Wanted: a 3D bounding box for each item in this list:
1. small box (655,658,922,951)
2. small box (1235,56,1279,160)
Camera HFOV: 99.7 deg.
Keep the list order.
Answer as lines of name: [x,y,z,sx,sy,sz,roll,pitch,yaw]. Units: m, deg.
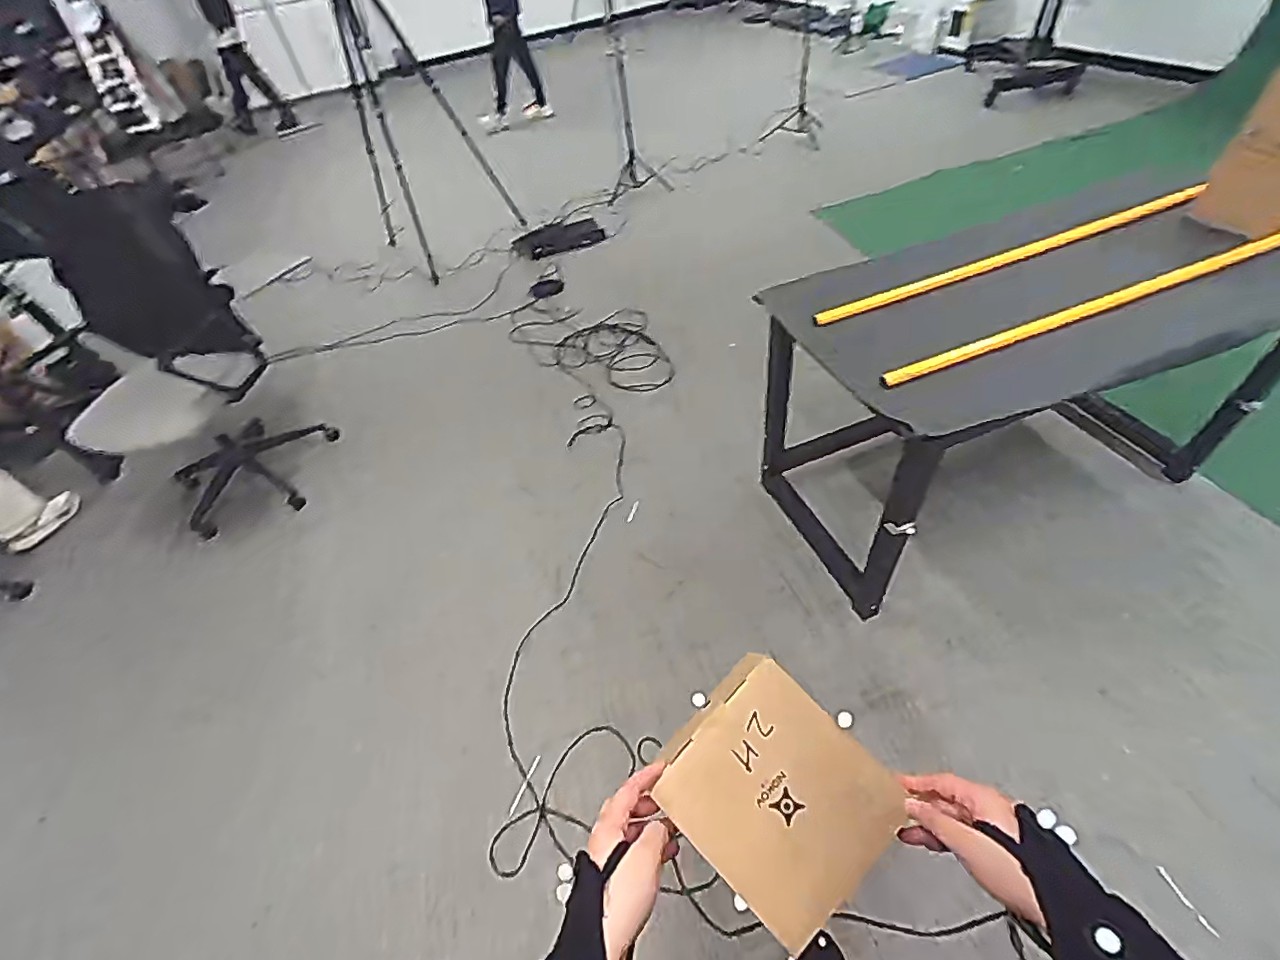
small box: [0.138,0.301,0.555,0.179,0.176,0.168,43,82,15]
small box: [1.421,-0.784,1.124,0.179,0.176,0.168,-17,49,-5]
